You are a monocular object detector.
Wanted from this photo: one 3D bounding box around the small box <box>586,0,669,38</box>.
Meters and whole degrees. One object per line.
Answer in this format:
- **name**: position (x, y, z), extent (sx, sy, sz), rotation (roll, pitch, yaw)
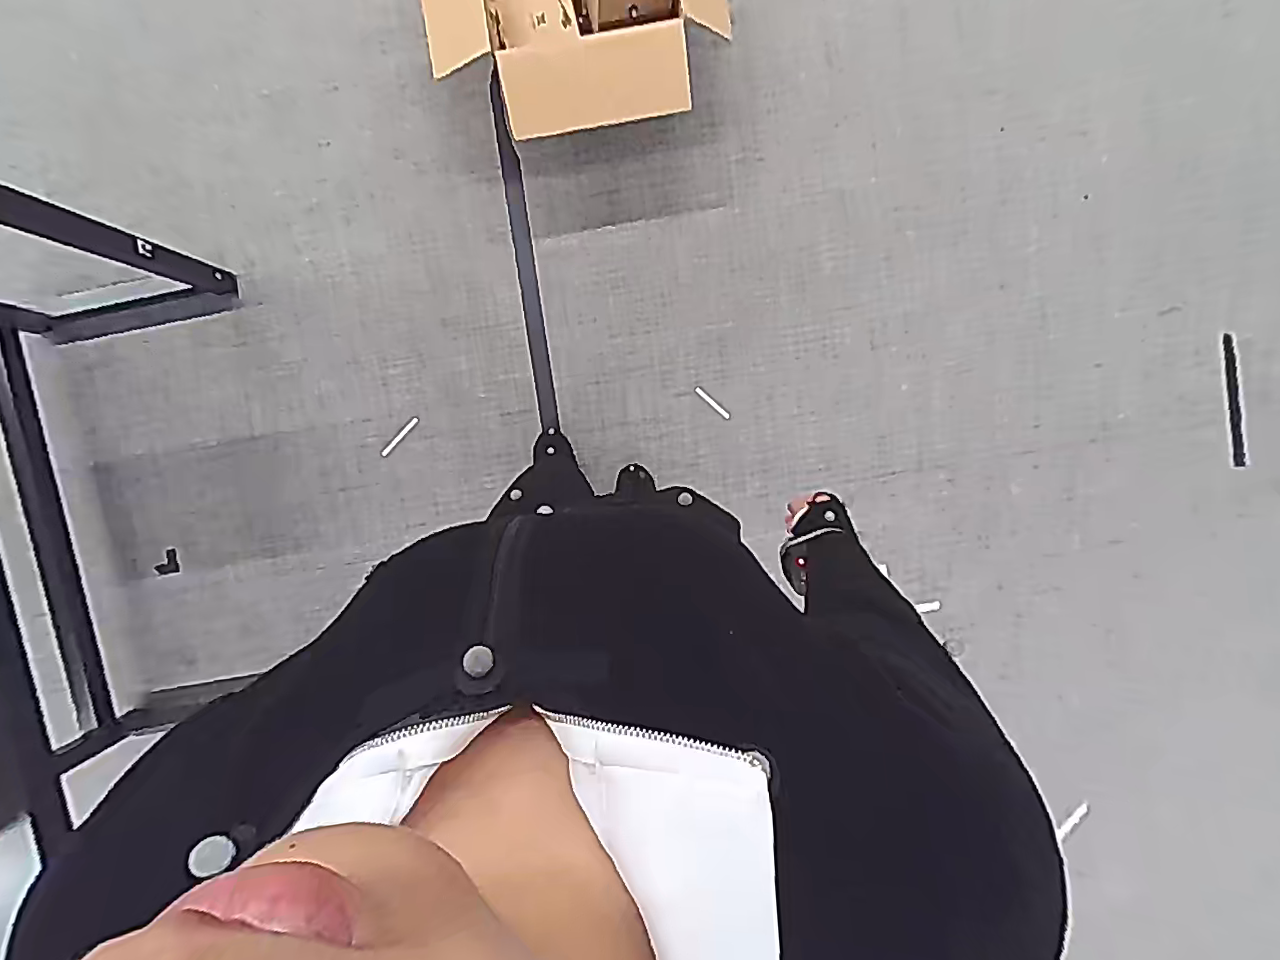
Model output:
- **small box**: position (-0.033, -1.075, 1.131), extent (0.168, 0.176, 0.179), rotation (-15, 95, -2)
